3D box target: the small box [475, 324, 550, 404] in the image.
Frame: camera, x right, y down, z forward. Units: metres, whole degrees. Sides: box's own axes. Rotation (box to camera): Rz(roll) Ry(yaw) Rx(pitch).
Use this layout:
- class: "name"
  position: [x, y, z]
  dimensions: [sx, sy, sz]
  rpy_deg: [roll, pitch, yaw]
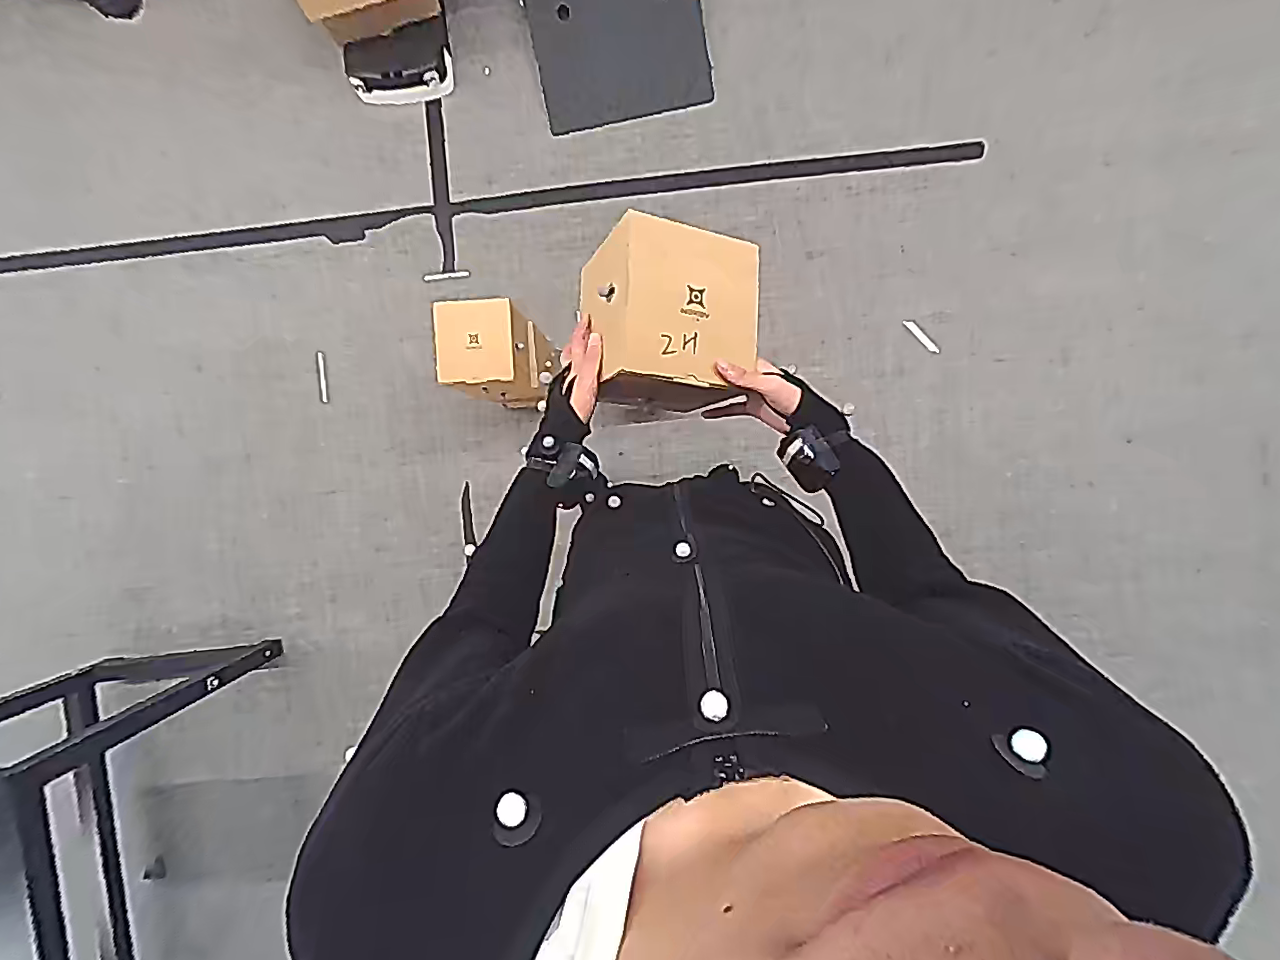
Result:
- class: "small box"
  position: [-0.336, -0.291, 1.384]
  dimensions: [0.179, 0.176, 0.168]
  rpy_deg: [-5, 92, 0]

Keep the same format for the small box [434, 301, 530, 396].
- class: "small box"
  position: [-0.350, -0.290, 1.222]
  dimensions: [0.168, 0.176, 0.179]
  rpy_deg: [-3, 93, 1]

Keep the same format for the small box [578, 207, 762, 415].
- class: "small box"
  position: [0.029, -0.186, 0.654]
  dimensions: [0.168, 0.176, 0.179]
  rpy_deg: [4, 86, -23]
